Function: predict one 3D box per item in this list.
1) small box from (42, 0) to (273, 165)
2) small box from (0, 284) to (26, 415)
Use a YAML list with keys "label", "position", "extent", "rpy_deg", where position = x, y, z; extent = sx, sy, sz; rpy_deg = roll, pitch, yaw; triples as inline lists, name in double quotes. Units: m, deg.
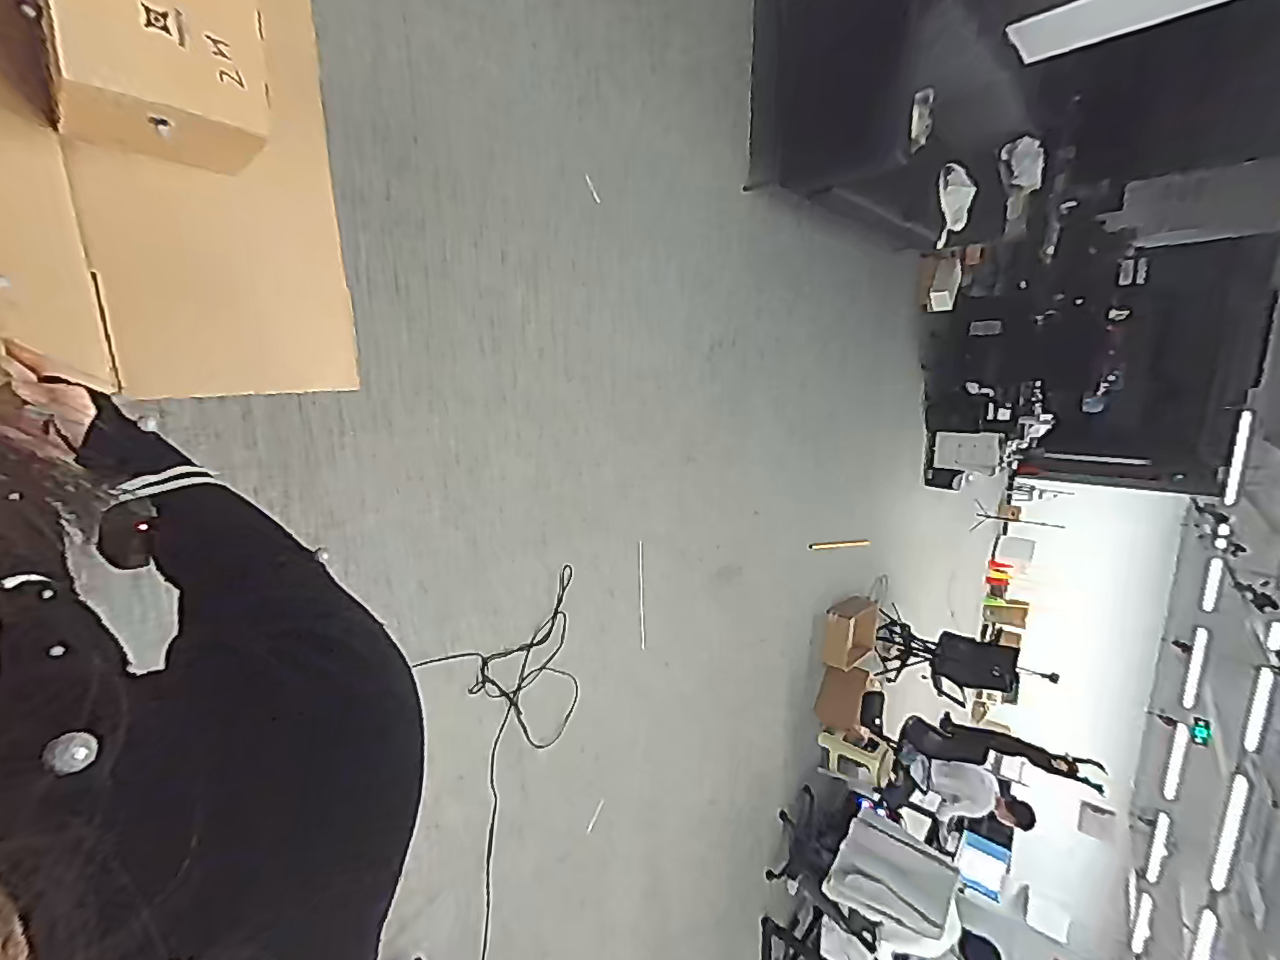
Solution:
- label: "small box"
  position: [-0.544, -0.483, 0.611]
  extent: [0.179, 0.176, 0.168]
  rpy_deg: [-10, 104, -46]
- label: "small box"
  position: [-0.627, -0.154, 0.422]
  extent: [0.168, 0.176, 0.179]
  rpy_deg: [-14, 80, -45]
